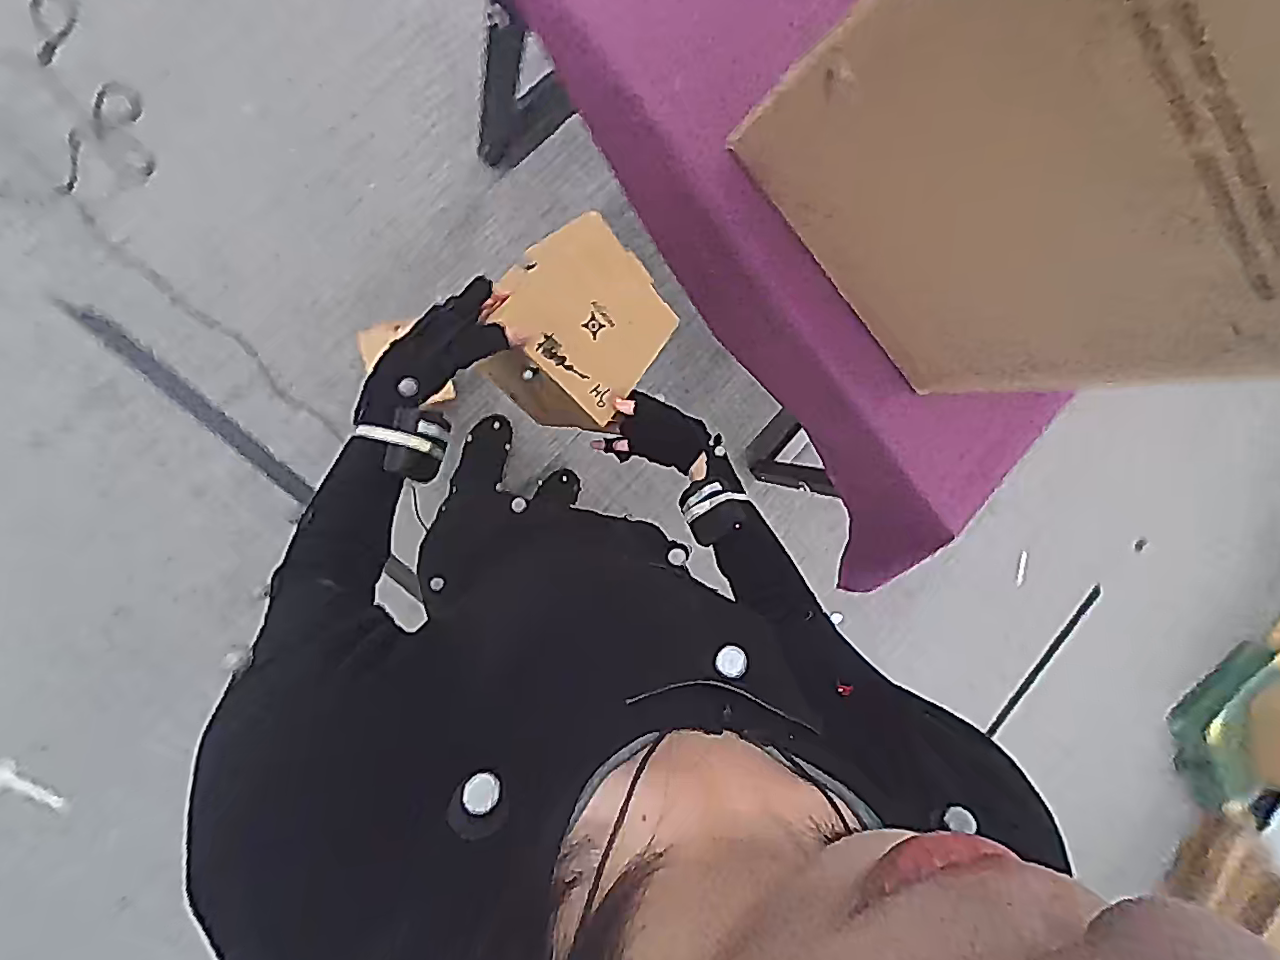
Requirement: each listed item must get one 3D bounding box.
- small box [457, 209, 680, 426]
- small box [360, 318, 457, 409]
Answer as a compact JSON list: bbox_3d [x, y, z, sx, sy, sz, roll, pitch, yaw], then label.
[{"bbox_3d":[-0.092,-0.185,0.657,0.168,0.176,0.179,45,70,-30],"label":"small box"},{"bbox_3d":[-0.534,-0.267,1.265,0.168,0.176,0.179,-15,102,-16],"label":"small box"}]
